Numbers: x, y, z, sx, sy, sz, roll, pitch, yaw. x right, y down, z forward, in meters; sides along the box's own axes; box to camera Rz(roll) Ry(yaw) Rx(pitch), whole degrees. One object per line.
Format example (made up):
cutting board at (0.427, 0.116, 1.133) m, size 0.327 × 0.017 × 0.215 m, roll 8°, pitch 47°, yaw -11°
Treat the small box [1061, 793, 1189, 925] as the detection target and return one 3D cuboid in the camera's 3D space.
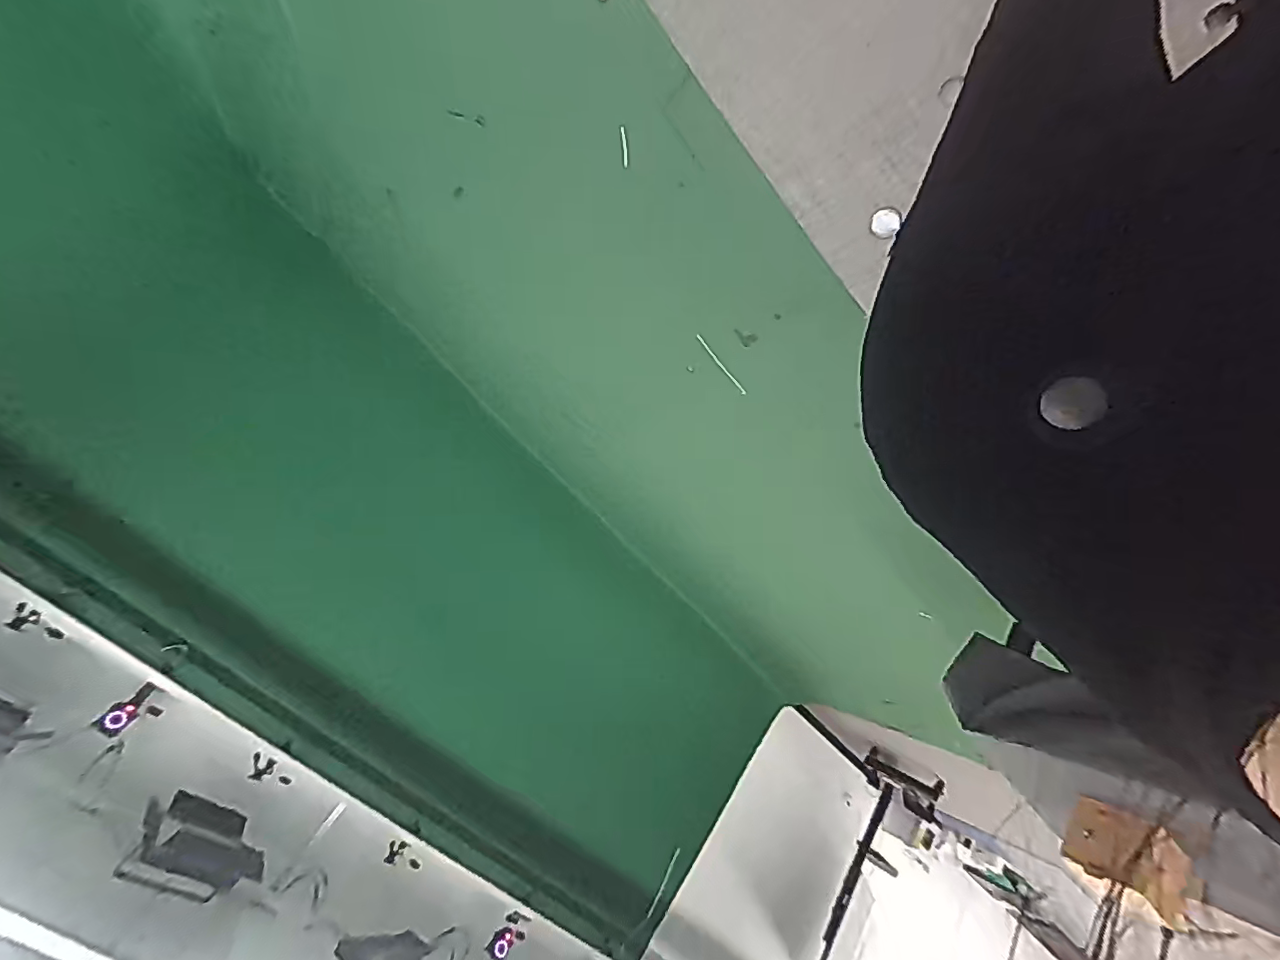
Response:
small box at (1.161, 0.893, 1.294) m, size 0.179 × 0.176 × 0.168 m, roll 44°, pitch 159°, yaw -16°
